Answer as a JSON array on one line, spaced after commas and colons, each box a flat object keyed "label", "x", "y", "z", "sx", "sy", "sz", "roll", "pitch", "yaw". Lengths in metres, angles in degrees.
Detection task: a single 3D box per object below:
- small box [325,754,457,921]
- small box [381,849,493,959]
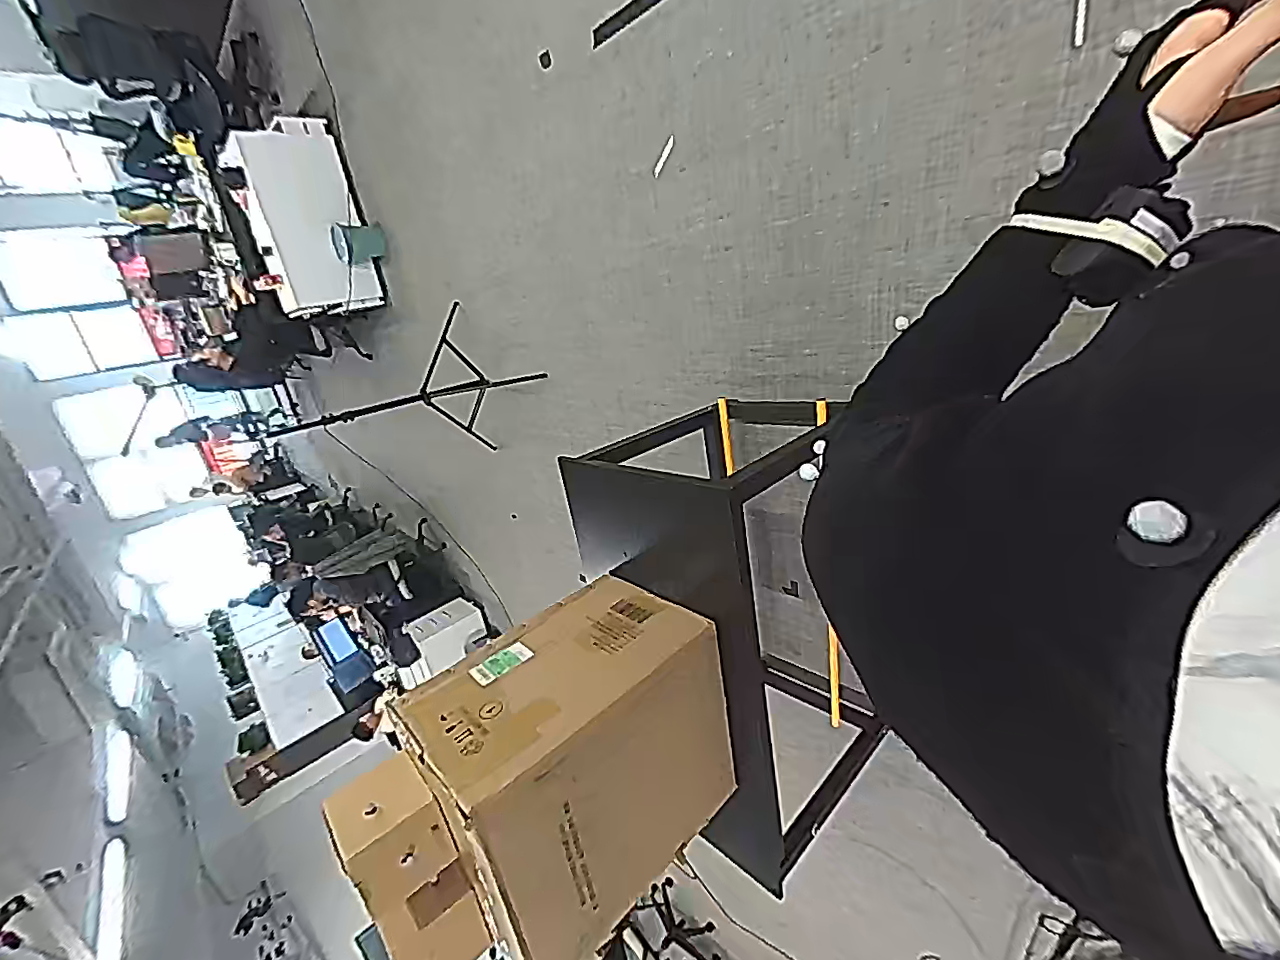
[{"label": "small box", "x": -0.476, "y": 0.678, "z": 1.052, "sx": 0.179, "sy": 0.176, "sz": 0.168, "roll": 14, "pitch": 121, "yaw": 47}, {"label": "small box", "x": -0.429, "y": 0.919, "z": 1.132, "sx": 0.168, "sy": 0.176, "sz": 0.179, "roll": 12, "pitch": 118, "yaw": 48}]
